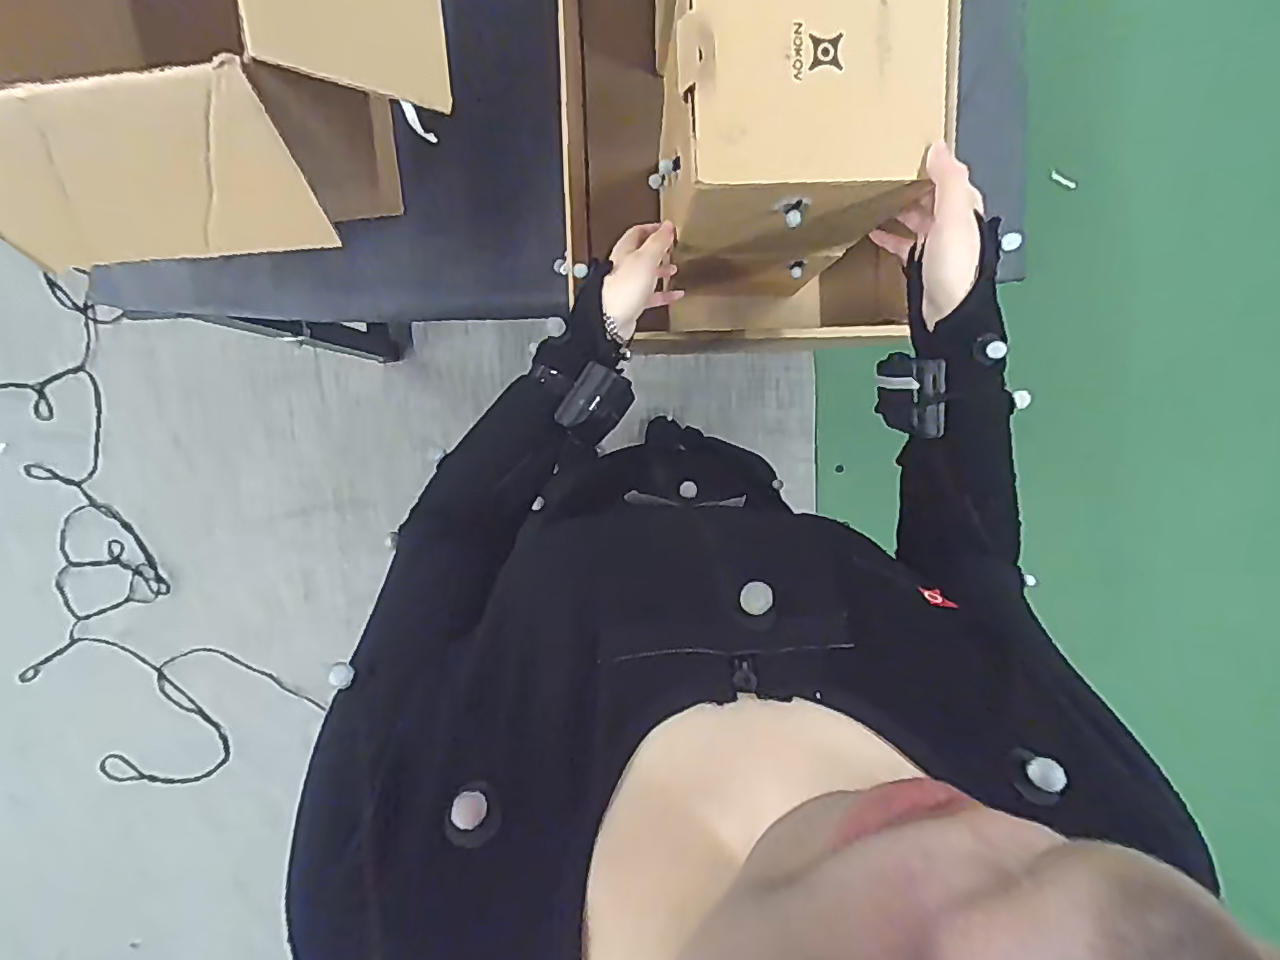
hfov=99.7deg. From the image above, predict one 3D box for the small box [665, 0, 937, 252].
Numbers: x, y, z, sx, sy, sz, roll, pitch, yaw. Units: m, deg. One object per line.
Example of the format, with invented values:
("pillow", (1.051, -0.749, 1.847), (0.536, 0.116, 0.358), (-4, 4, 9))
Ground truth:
("small box", (0.113, -0.297, 0.449), (0.179, 0.176, 0.168), (-3, 98, -4))
